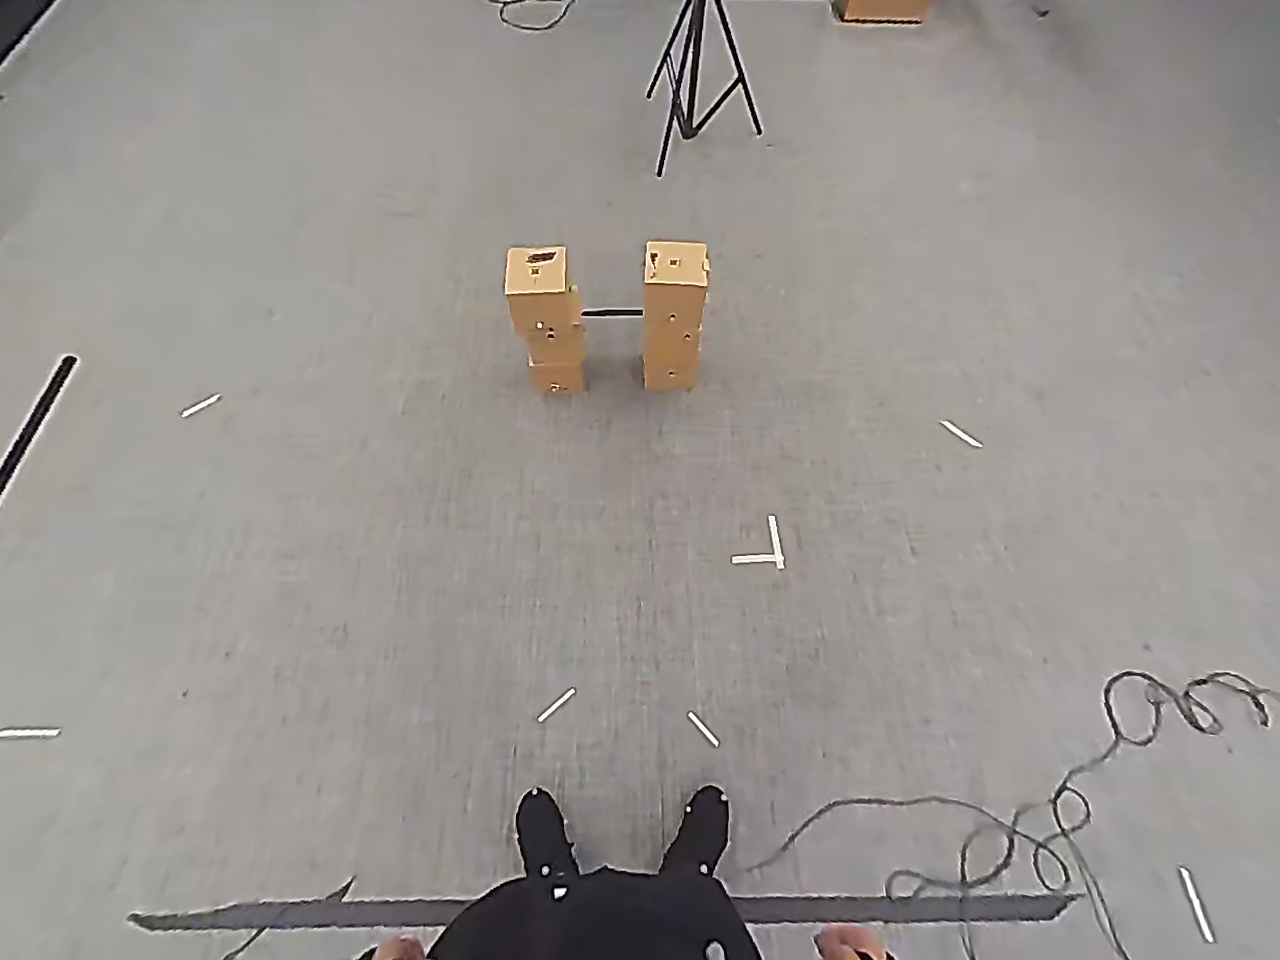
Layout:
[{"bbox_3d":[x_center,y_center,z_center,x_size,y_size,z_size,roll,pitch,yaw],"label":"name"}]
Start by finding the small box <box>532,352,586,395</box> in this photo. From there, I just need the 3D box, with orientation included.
[{"bbox_3d":[-0.277,-0.414,1.863,0.168,0.176,0.179,-4,64,-2],"label":"small box"}]

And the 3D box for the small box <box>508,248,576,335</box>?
[{"bbox_3d":[-0.276,-0.540,1.560,0.168,0.176,0.179,-2,65,0],"label":"small box"}]

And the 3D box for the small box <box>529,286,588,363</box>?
[{"bbox_3d":[-0.263,-0.490,1.718,0.179,0.176,0.168,-5,64,-3],"label":"small box"}]

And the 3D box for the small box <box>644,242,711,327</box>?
[{"bbox_3d":[0.107,-0.564,1.577,0.179,0.176,0.168,4,63,0],"label":"small box"}]

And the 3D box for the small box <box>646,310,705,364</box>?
[{"bbox_3d":[0.111,-0.486,1.722,0.179,0.176,0.168,4,64,1],"label":"small box"}]
